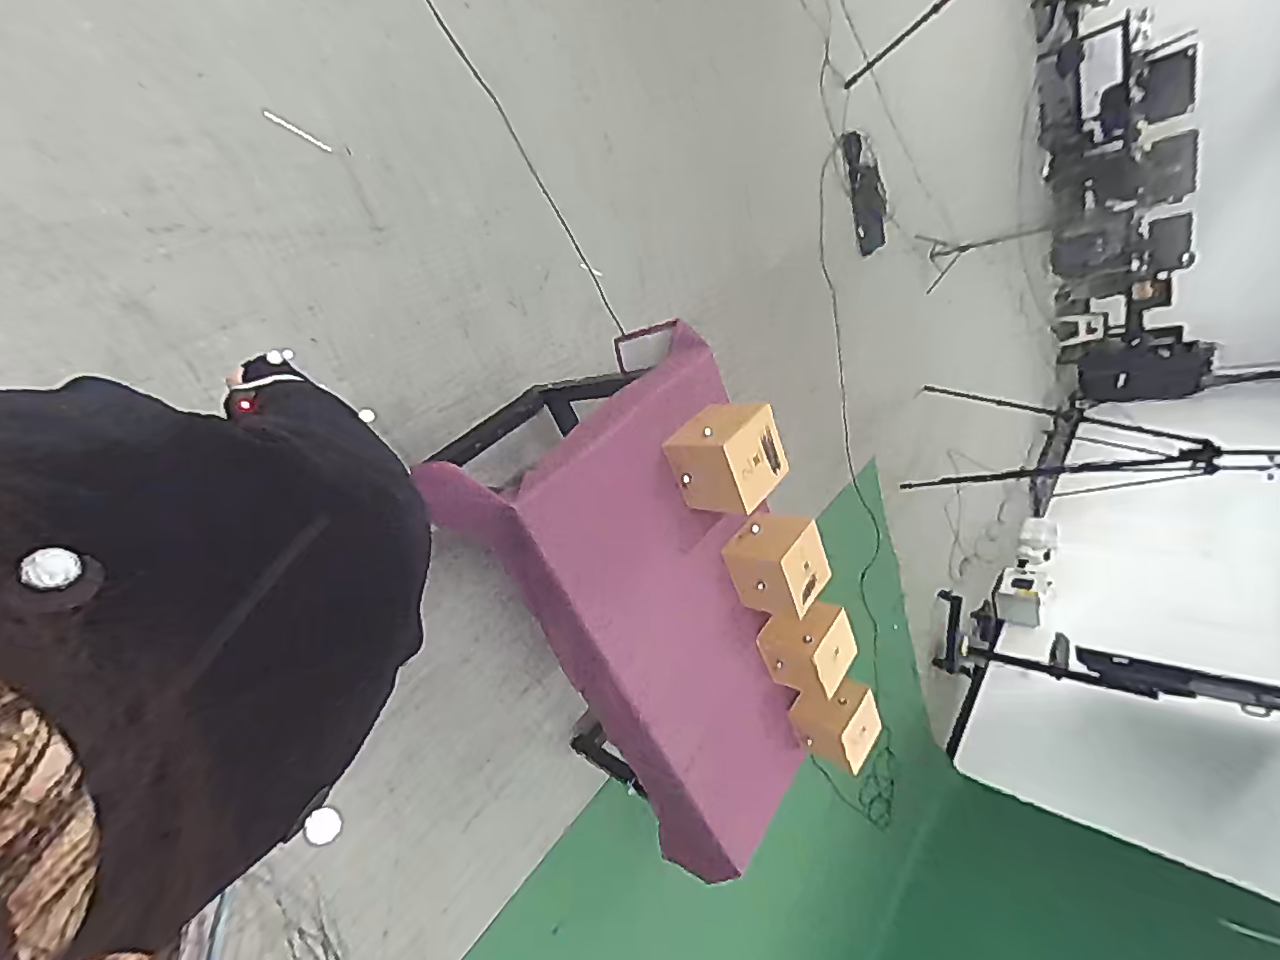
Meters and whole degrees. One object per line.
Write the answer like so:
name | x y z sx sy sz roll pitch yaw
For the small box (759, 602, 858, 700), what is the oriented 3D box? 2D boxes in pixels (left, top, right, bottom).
small box | 0.442 0.432 1.419 0.179 0.176 0.168 -41 119 -31

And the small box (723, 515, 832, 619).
small box | 0.330 0.201 1.301 0.168 0.176 0.179 -40 117 -33

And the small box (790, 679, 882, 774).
small box | 0.553 0.675 1.528 0.179 0.176 0.168 -38 116 -31
